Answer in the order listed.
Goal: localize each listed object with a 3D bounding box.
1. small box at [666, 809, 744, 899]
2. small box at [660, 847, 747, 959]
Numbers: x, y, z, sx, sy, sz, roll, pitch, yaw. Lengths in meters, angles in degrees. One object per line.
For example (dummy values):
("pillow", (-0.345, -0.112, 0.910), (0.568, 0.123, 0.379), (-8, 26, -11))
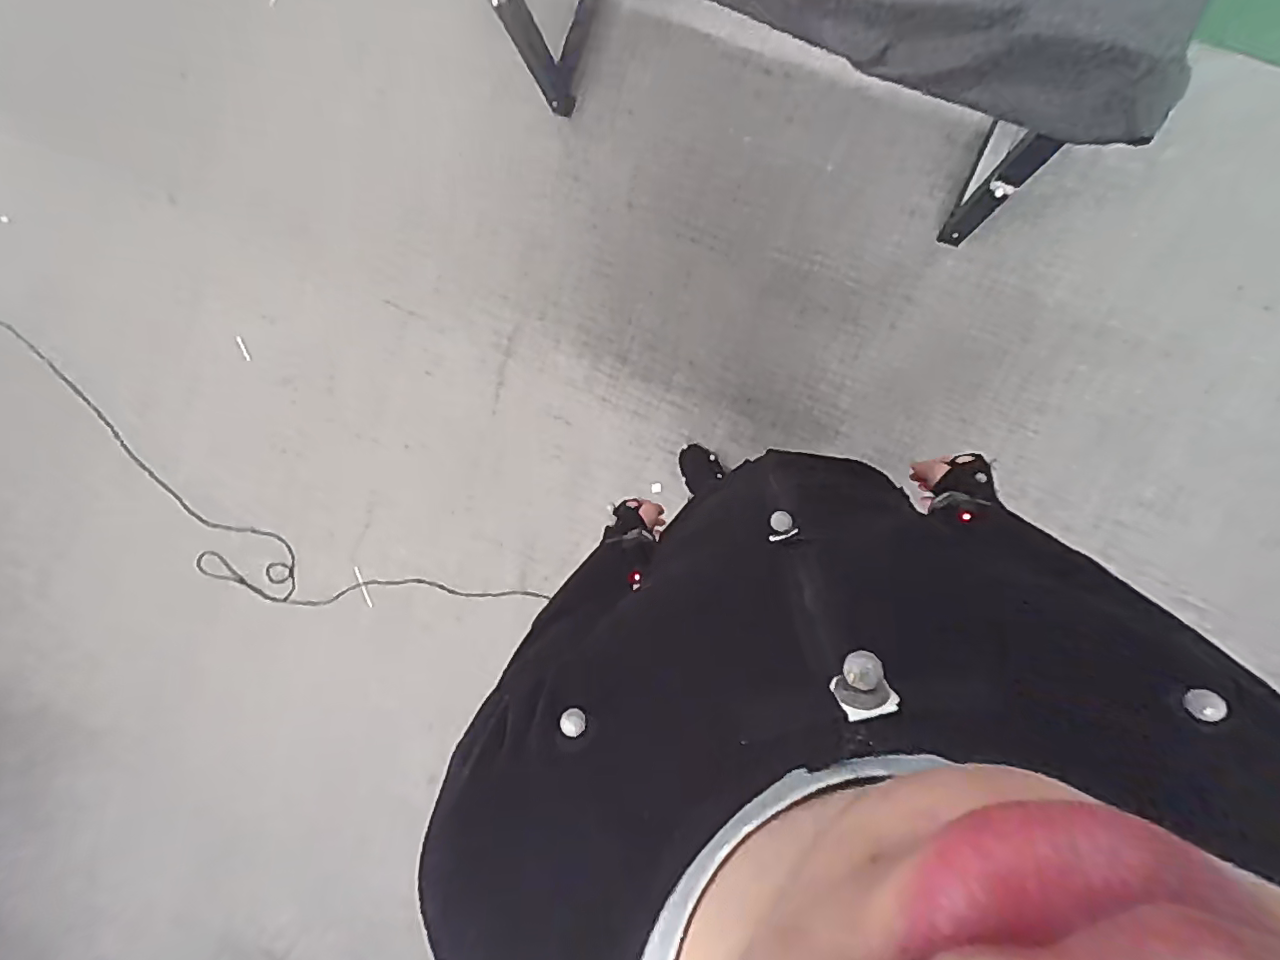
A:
("small box", (0.190, 1.099, 1.549), (0.168, 0.176, 0.179), (21, 96, 7))
("small box", (0.166, 1.105, 1.386), (0.168, 0.176, 0.179), (21, 97, 7))
